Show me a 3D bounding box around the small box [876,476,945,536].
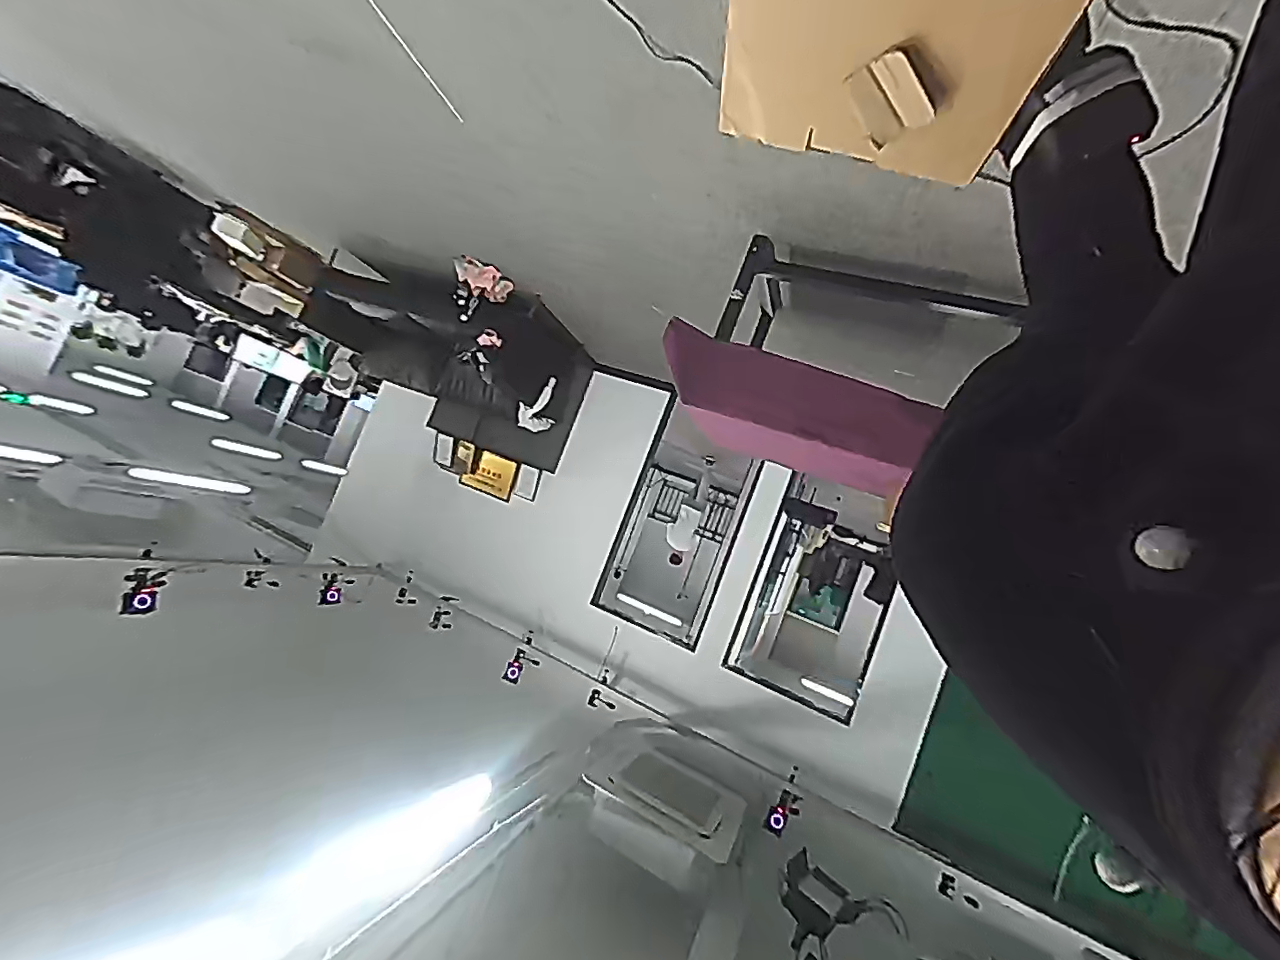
[{"bbox_3d":[1.001,0.091,2.010,0.179,0.176,0.168,20,177,23],"label":"small box"}]
